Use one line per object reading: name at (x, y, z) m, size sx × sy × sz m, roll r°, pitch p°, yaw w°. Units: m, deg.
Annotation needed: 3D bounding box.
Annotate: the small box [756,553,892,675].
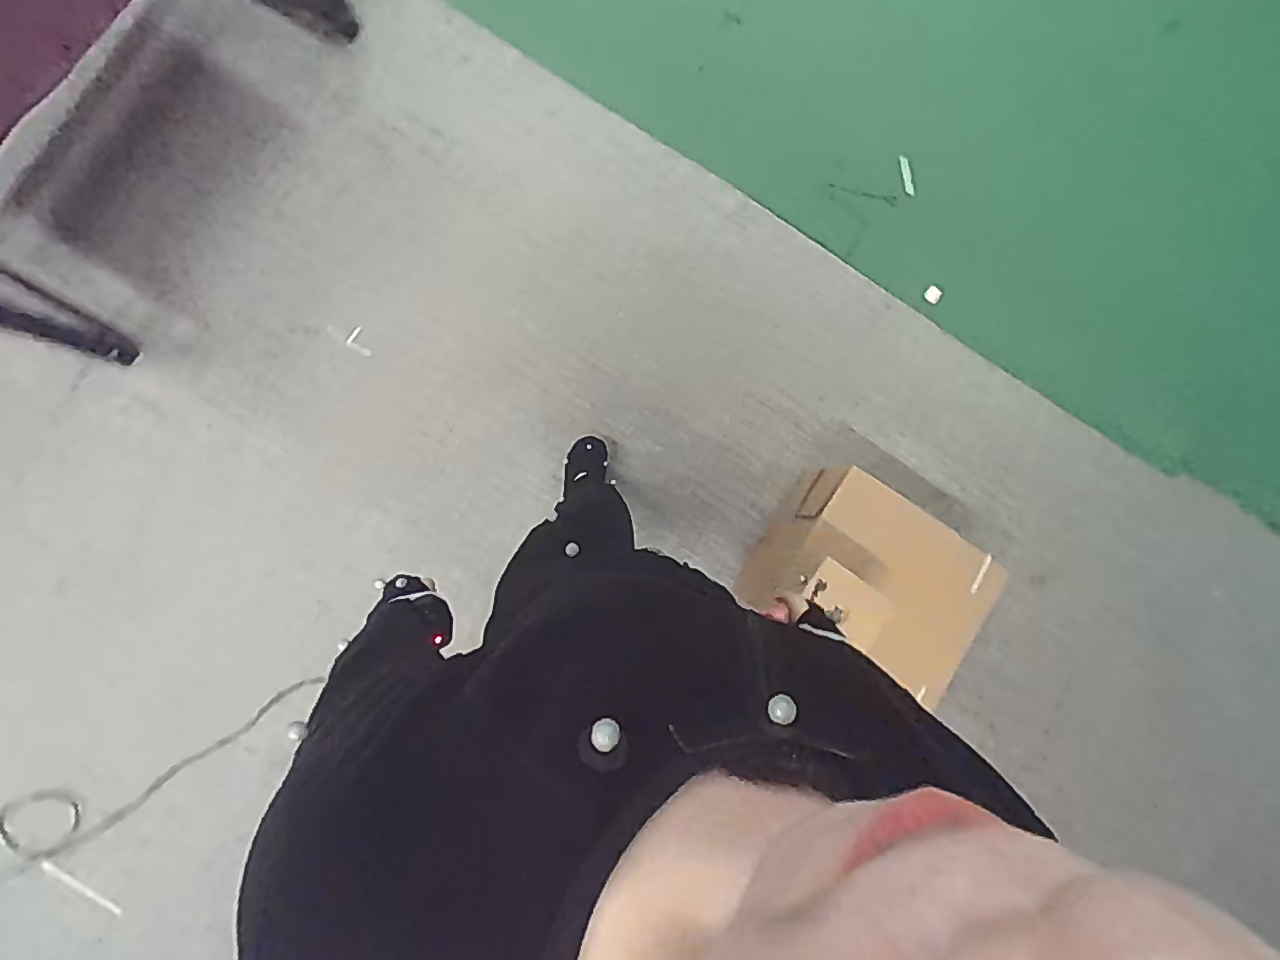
small box at (0.373, 0.266, 1.129) m, size 0.179 × 0.176 × 0.168 m, roll 37°, pitch 86°, yaw -2°
